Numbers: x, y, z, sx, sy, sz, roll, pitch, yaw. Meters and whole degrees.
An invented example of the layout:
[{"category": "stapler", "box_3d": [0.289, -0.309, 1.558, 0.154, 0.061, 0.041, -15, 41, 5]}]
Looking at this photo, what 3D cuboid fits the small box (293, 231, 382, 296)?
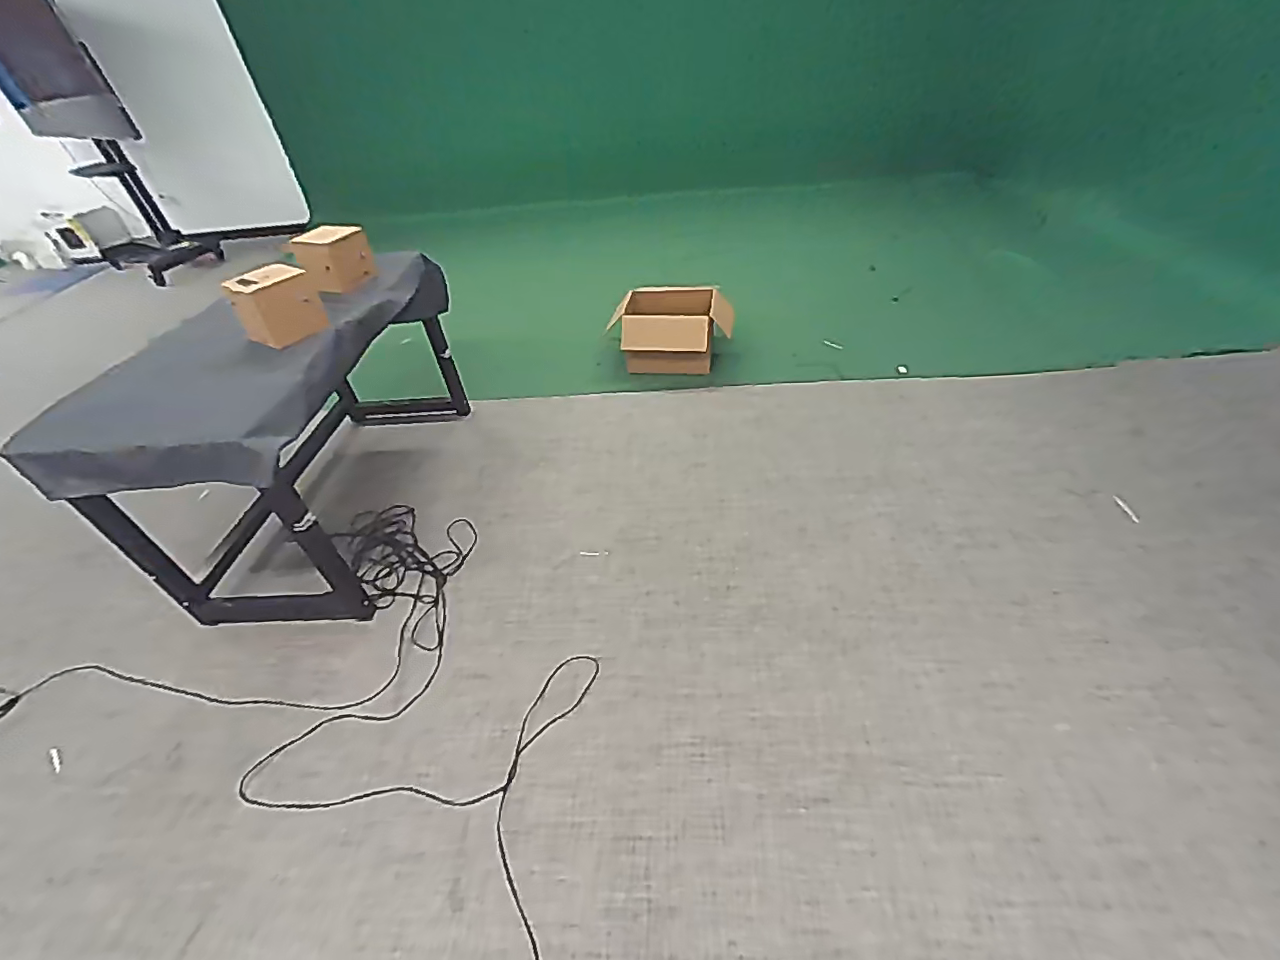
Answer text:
[{"category": "small box", "box_3d": [-1.036, -0.746, 1.867, 0.179, 0.176, 0.168, 9, 42, 19]}]
